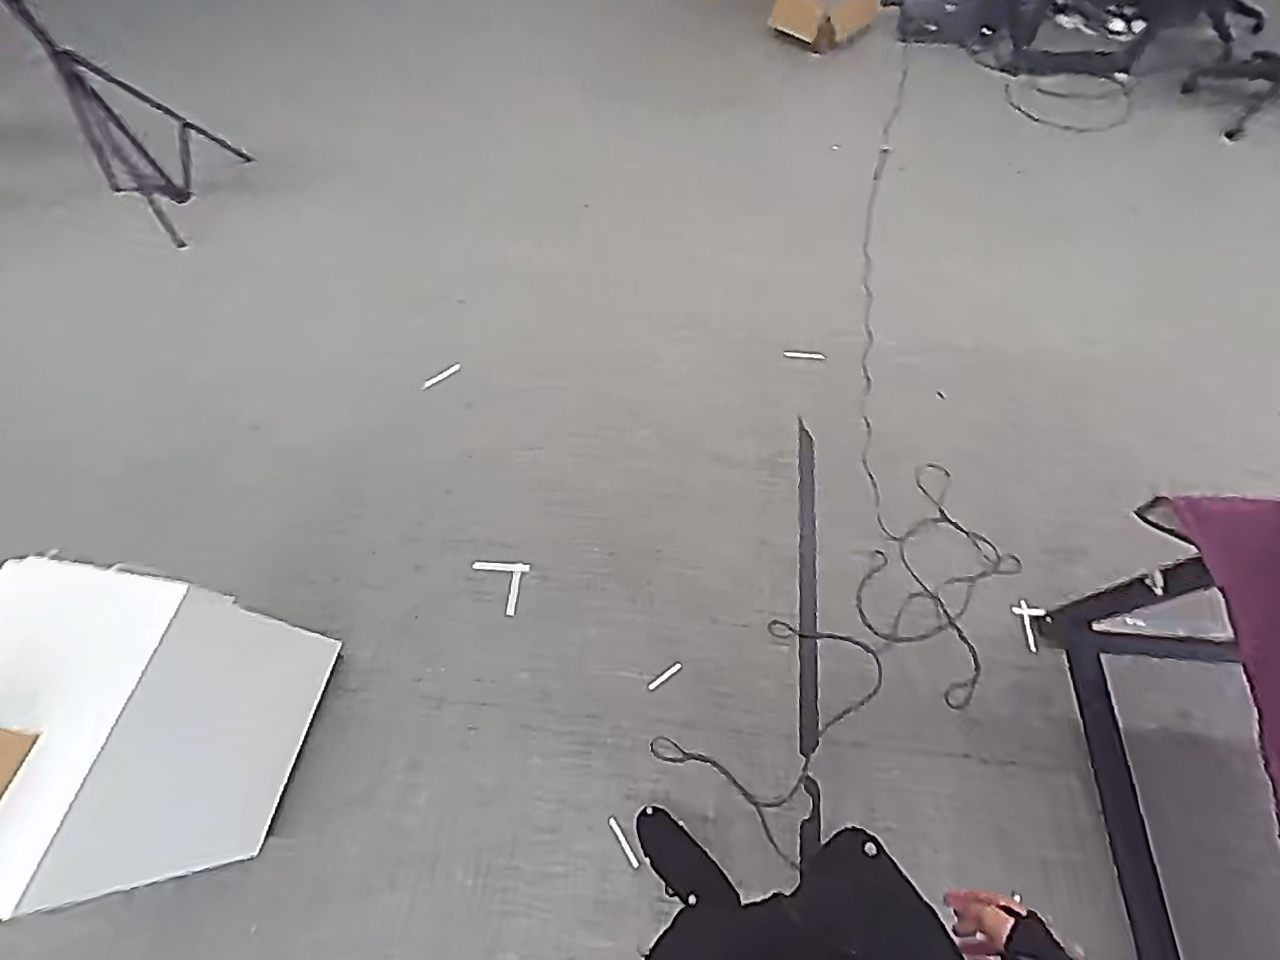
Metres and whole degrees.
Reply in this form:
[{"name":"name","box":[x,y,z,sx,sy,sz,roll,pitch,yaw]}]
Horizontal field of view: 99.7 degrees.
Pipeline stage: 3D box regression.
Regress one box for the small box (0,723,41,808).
[{"name":"small box","box":[-1.107,0.464,0.824,0.168,0.176,0.179,9,63,7]}]
